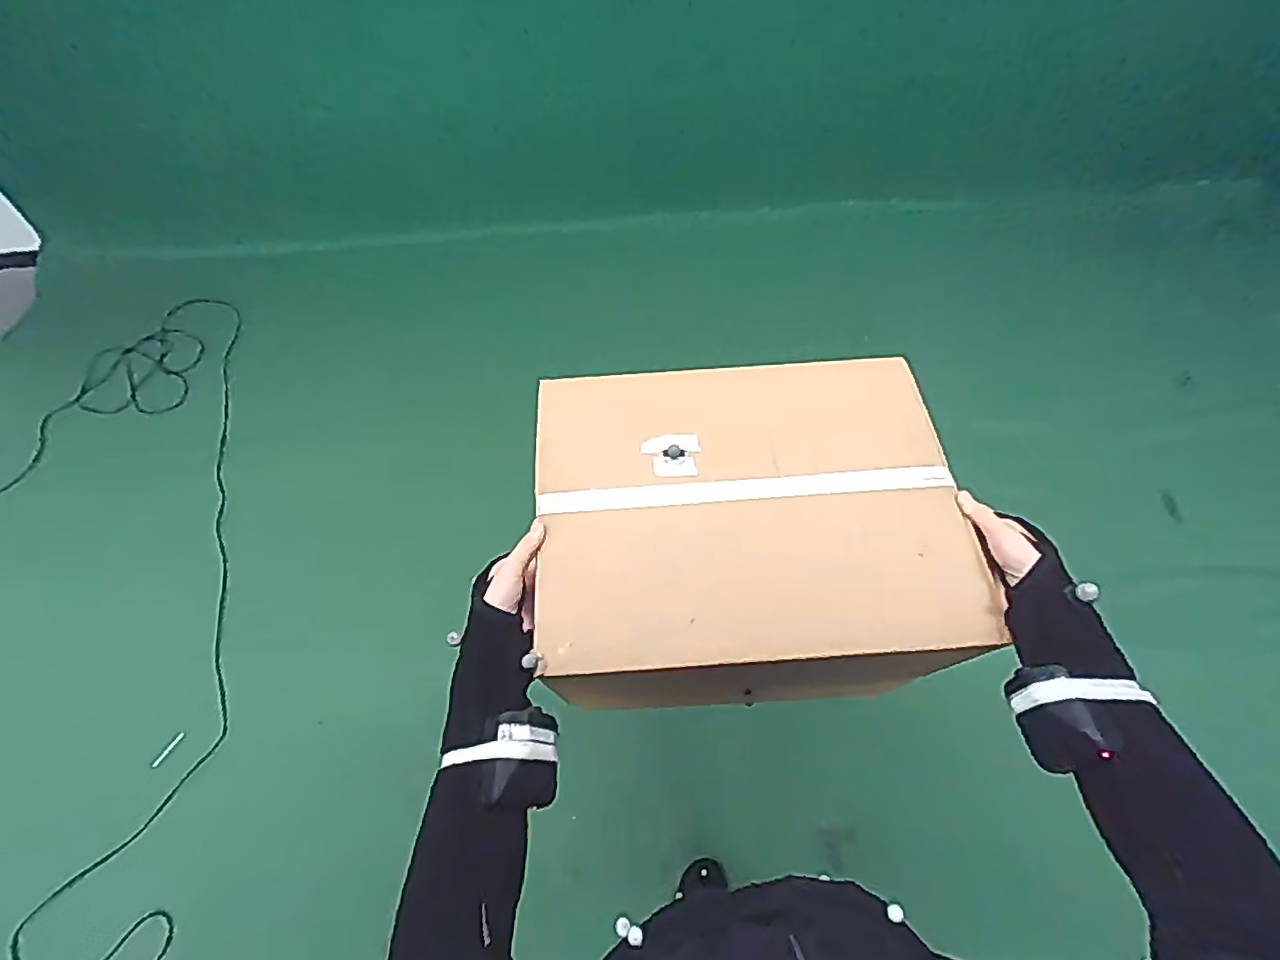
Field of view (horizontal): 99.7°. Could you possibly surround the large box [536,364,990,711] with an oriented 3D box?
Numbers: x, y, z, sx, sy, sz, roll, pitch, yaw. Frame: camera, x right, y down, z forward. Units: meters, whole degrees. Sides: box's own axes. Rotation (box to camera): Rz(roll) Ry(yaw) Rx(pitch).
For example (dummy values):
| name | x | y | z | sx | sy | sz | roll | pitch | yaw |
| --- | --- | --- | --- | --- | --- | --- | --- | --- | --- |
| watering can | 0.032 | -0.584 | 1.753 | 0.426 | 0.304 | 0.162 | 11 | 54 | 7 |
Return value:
| name | x | y | z | sx | sy | sz | roll | pitch | yaw |
| --- | --- | --- | --- | --- | --- | --- | --- | --- | --- |
| large box | 0.104 | 0.091 | 0.667 | 0.408 | 0.320 | 0.320 | -5 | 60 | 0 |
